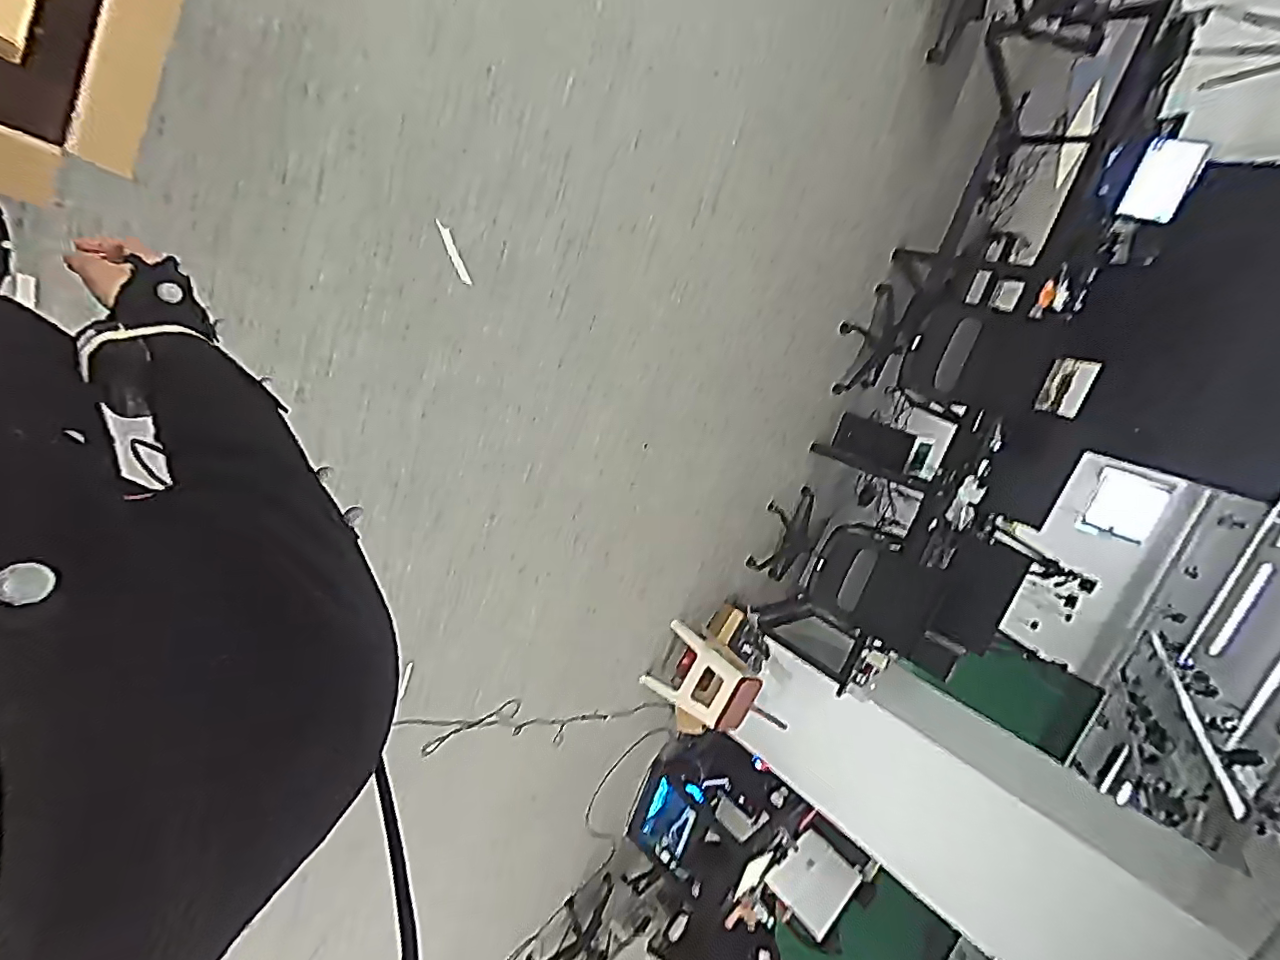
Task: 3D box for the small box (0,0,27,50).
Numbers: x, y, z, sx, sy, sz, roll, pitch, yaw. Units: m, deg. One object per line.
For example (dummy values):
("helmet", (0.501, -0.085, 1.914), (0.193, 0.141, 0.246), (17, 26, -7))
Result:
("small box", (-0.770, -0.608, 0.574), (0.168, 0.176, 0.179), (16, 98, -55))
